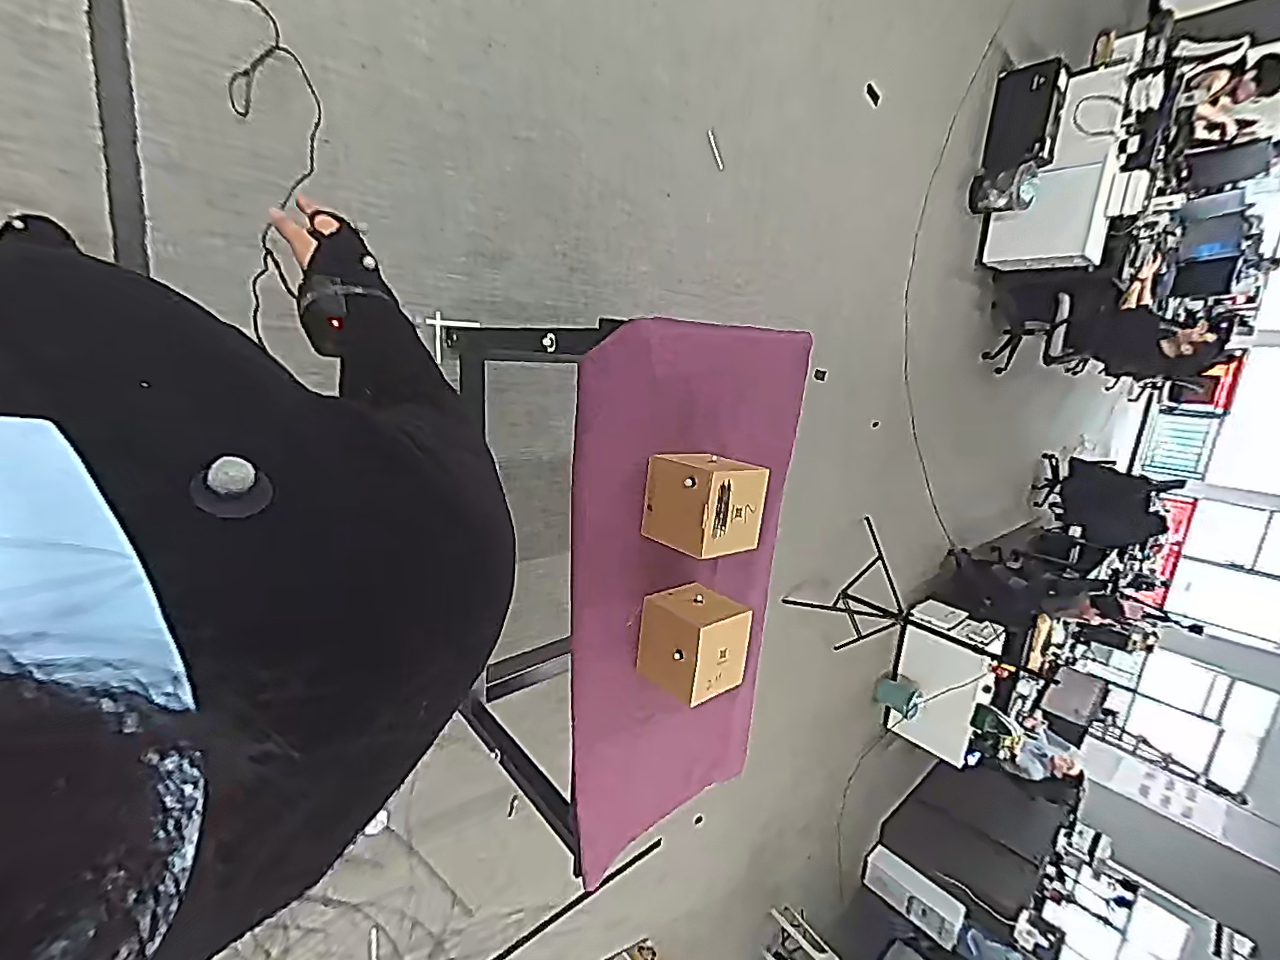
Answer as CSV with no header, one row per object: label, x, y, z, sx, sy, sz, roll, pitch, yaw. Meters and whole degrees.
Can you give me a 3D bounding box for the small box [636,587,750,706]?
small box,0.109,0.343,1.160,0.168,0.176,0.179,-3,105,-41
